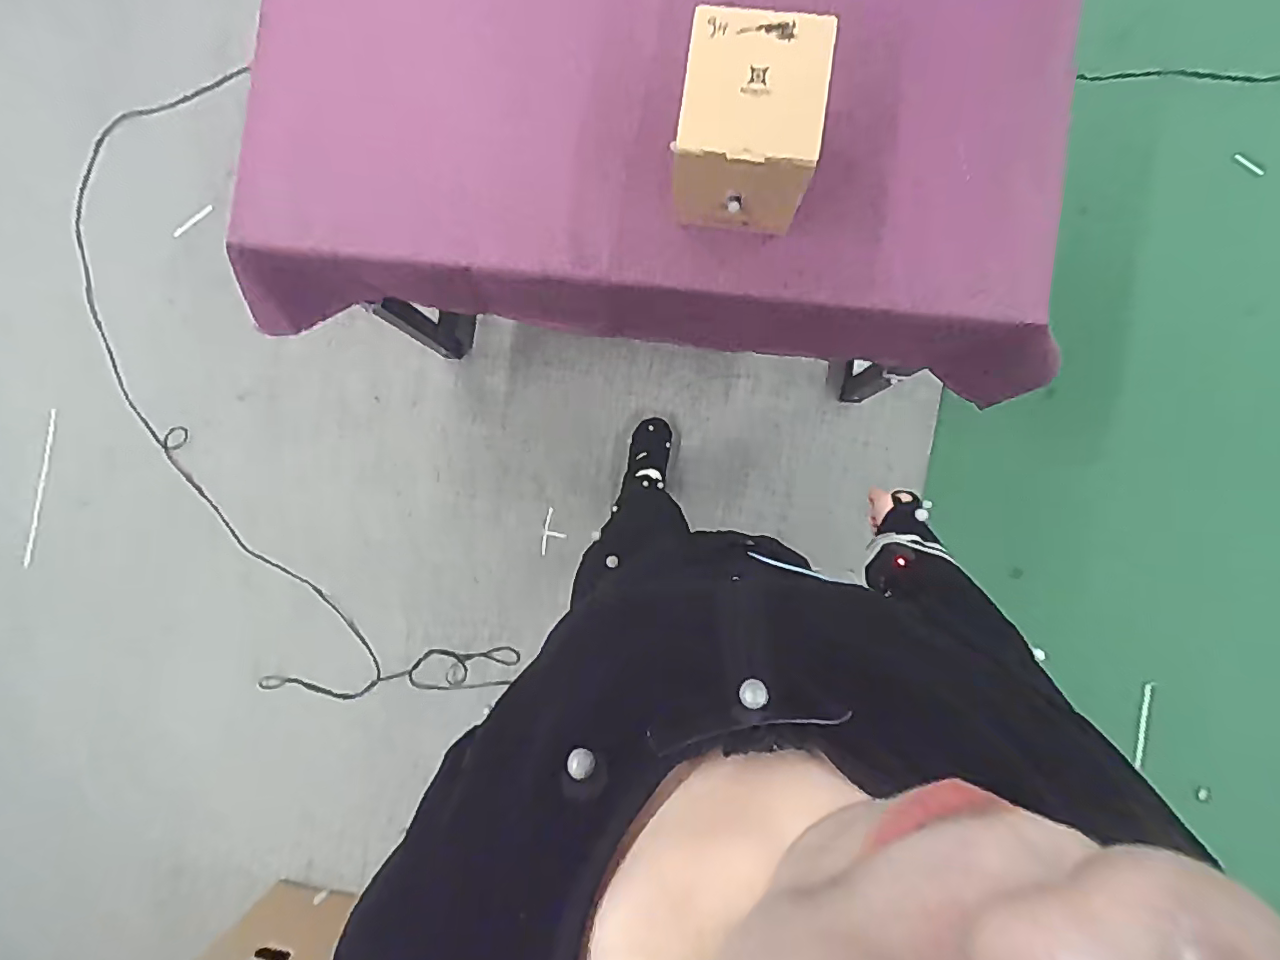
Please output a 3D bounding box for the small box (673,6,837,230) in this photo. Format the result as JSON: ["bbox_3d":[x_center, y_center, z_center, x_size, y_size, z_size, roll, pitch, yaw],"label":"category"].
[{"bbox_3d":[0.137,-0.450,0.699,0.168,0.176,0.179,8,90,3],"label":"small box"}]
